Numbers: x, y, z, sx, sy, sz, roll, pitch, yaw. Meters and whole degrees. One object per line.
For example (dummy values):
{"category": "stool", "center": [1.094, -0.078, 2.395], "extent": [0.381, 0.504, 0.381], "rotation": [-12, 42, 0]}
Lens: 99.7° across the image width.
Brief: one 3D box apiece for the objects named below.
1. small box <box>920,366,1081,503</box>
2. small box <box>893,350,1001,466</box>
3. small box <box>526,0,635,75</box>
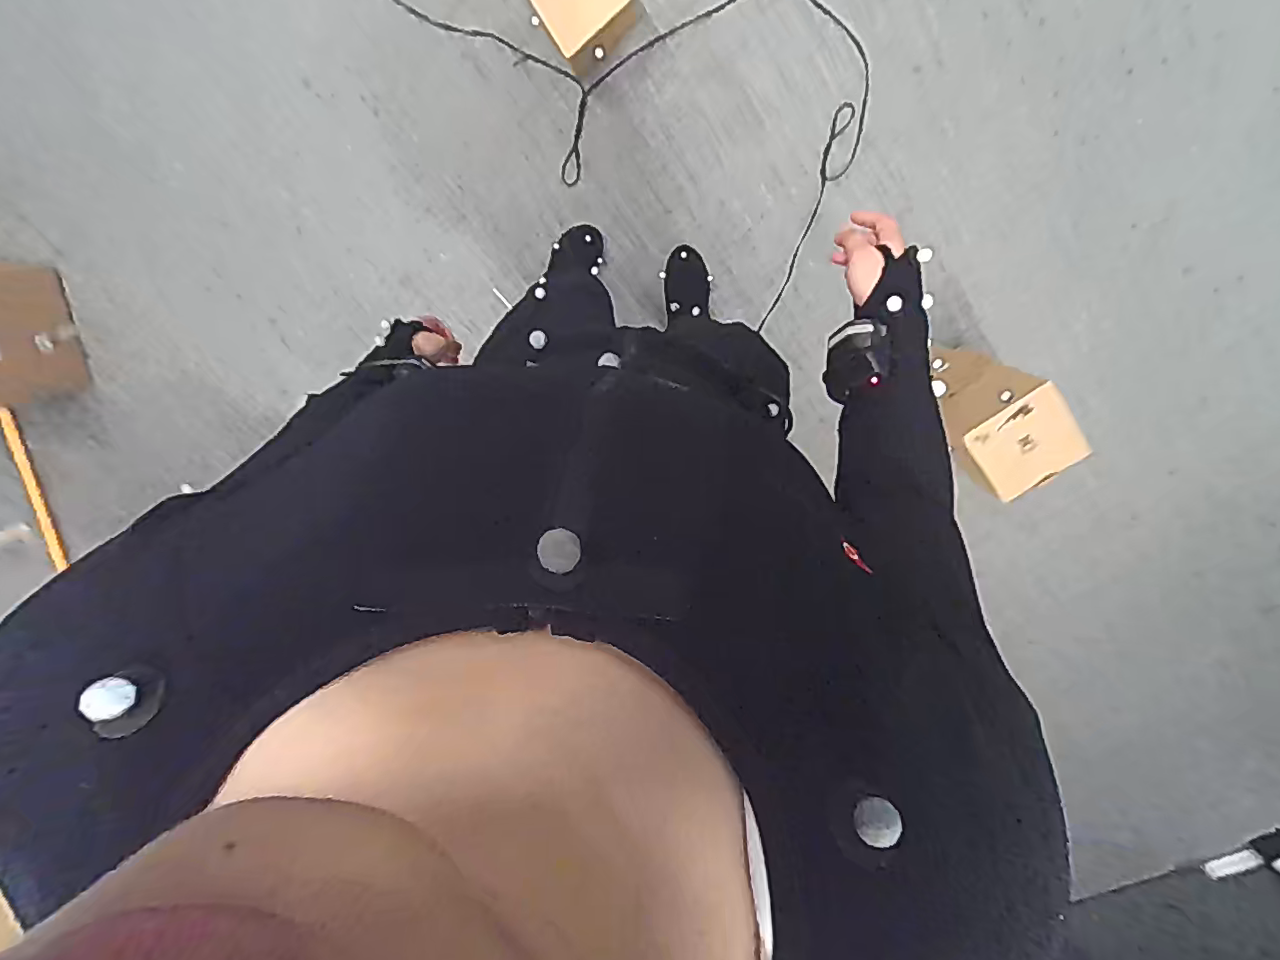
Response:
{"category": "small box", "center": [0.686, -0.095, 1.047], "extent": [0.168, 0.176, 0.179], "rotation": [-37, 109, 16]}
{"category": "small box", "center": [0.701, -0.163, 1.196], "extent": [0.168, 0.176, 0.179], "rotation": [-37, 107, 16]}
{"category": "small box", "center": [-0.121, -0.931, 1.047], "extent": [0.168, 0.176, 0.179], "rotation": [-33, 109, 16]}
